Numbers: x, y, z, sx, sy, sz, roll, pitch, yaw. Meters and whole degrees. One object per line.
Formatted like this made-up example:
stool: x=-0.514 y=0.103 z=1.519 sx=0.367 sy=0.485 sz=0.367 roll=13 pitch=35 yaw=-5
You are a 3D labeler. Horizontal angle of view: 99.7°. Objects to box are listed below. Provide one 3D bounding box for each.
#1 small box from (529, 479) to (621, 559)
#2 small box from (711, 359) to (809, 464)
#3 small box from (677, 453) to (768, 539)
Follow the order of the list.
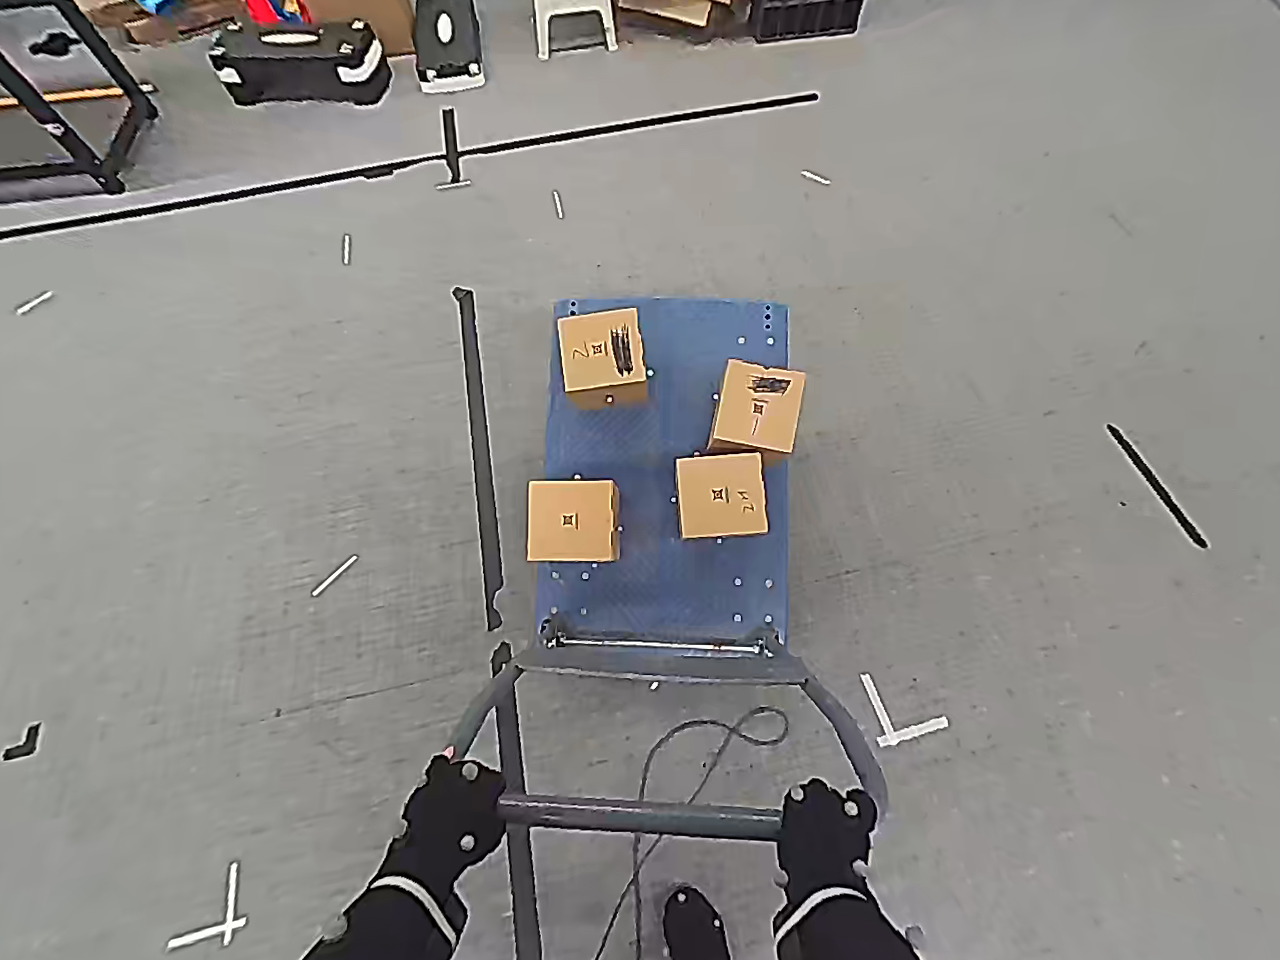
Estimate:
small box: x=-0.136 y=0.090 z=1.184 sx=0.179 sy=0.176 sz=0.168 roll=0 pitch=83 yaw=1
small box: x=0.256 y=-0.144 z=1.193 sx=0.168 sy=0.176 sz=0.179 roll=12 pitch=84 yaw=5
small box: x=0.173 y=0.040 z=1.173 sx=0.179 sy=0.176 sz=0.168 roll=-4 pitch=83 yaw=3
